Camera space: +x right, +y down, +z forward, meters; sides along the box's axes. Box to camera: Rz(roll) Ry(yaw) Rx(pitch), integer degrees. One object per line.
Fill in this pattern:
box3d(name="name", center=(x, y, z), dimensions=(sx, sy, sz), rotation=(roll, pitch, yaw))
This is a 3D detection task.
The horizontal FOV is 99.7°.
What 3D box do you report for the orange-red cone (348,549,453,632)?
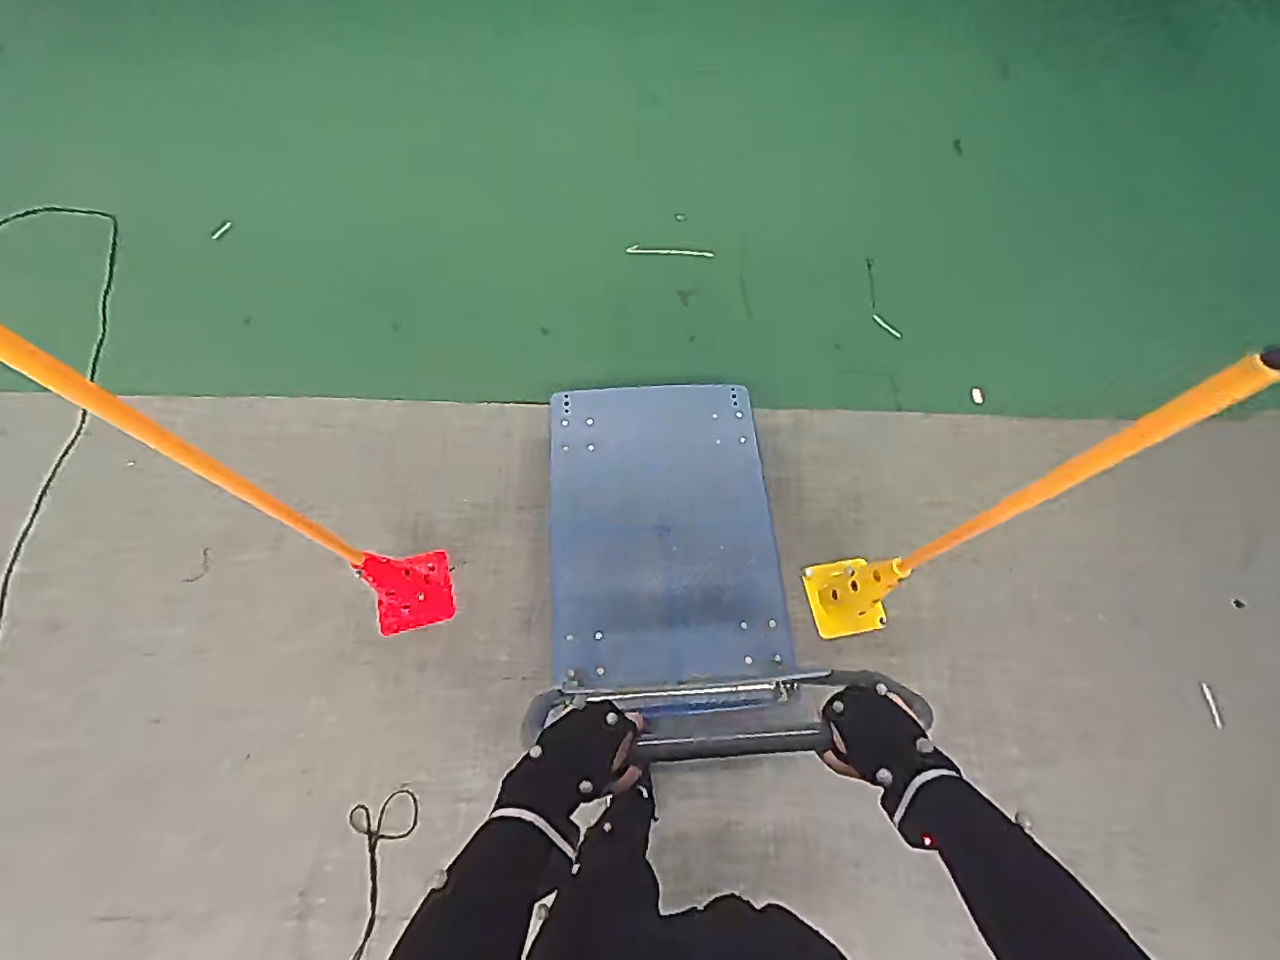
box3d(name="orange-red cone", center=(-0.609, 0.233, 1.309), dimensions=(0.199, 0.360, 0.198), rotation=(-13, 68, -6))
